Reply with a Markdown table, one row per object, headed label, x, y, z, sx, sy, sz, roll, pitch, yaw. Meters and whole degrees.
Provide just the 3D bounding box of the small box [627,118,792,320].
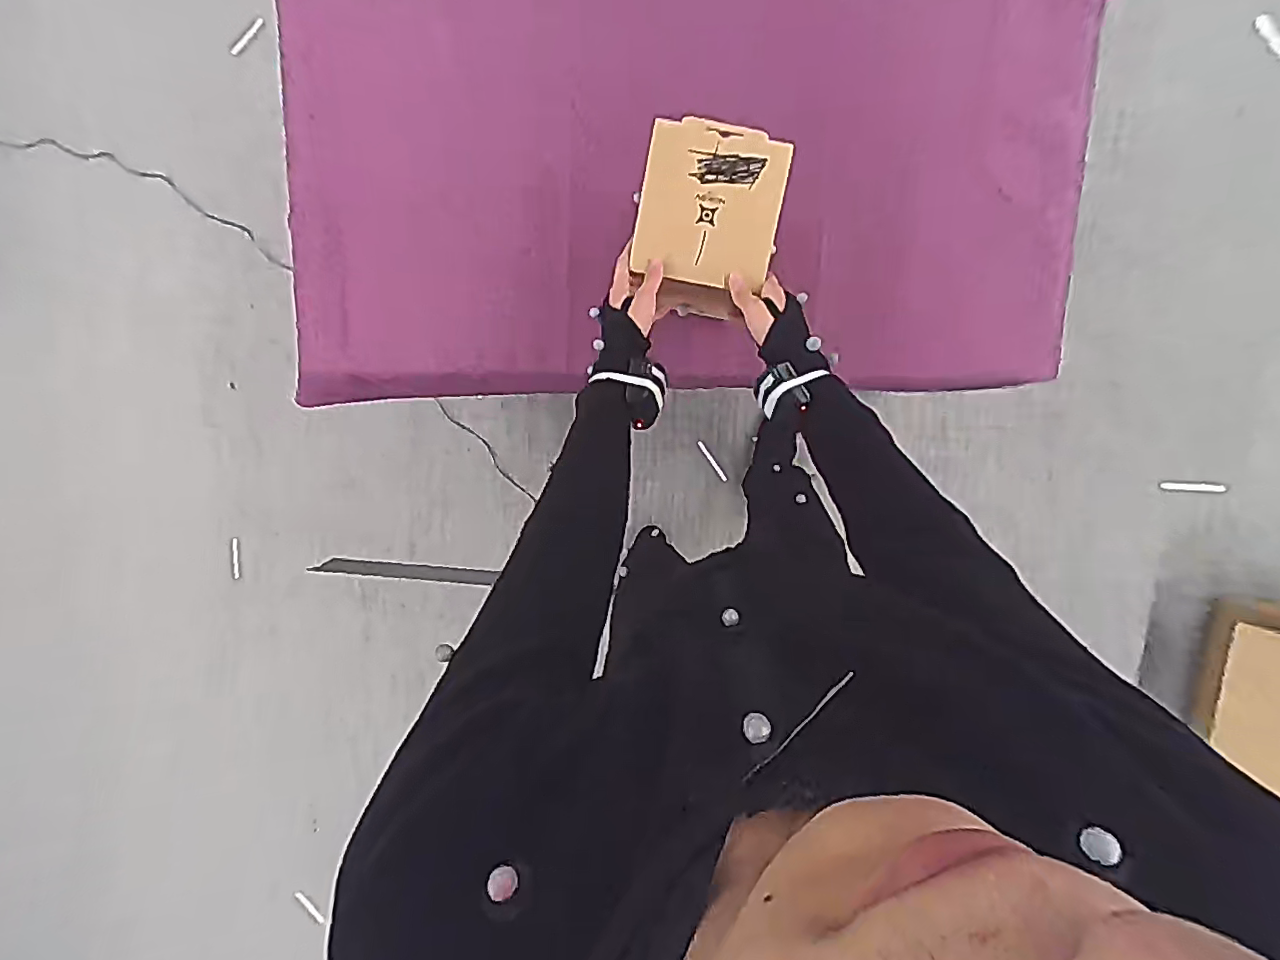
| label | x | y | z | sx | sy | sz | roll | pitch | yaw |
| --- | --- | --- | --- | --- | --- | --- | --- | --- | --- |
| small box | 0.081 | -0.327 | 0.714 | 0.168 | 0.176 | 0.179 | 12 | 97 | 0 |
